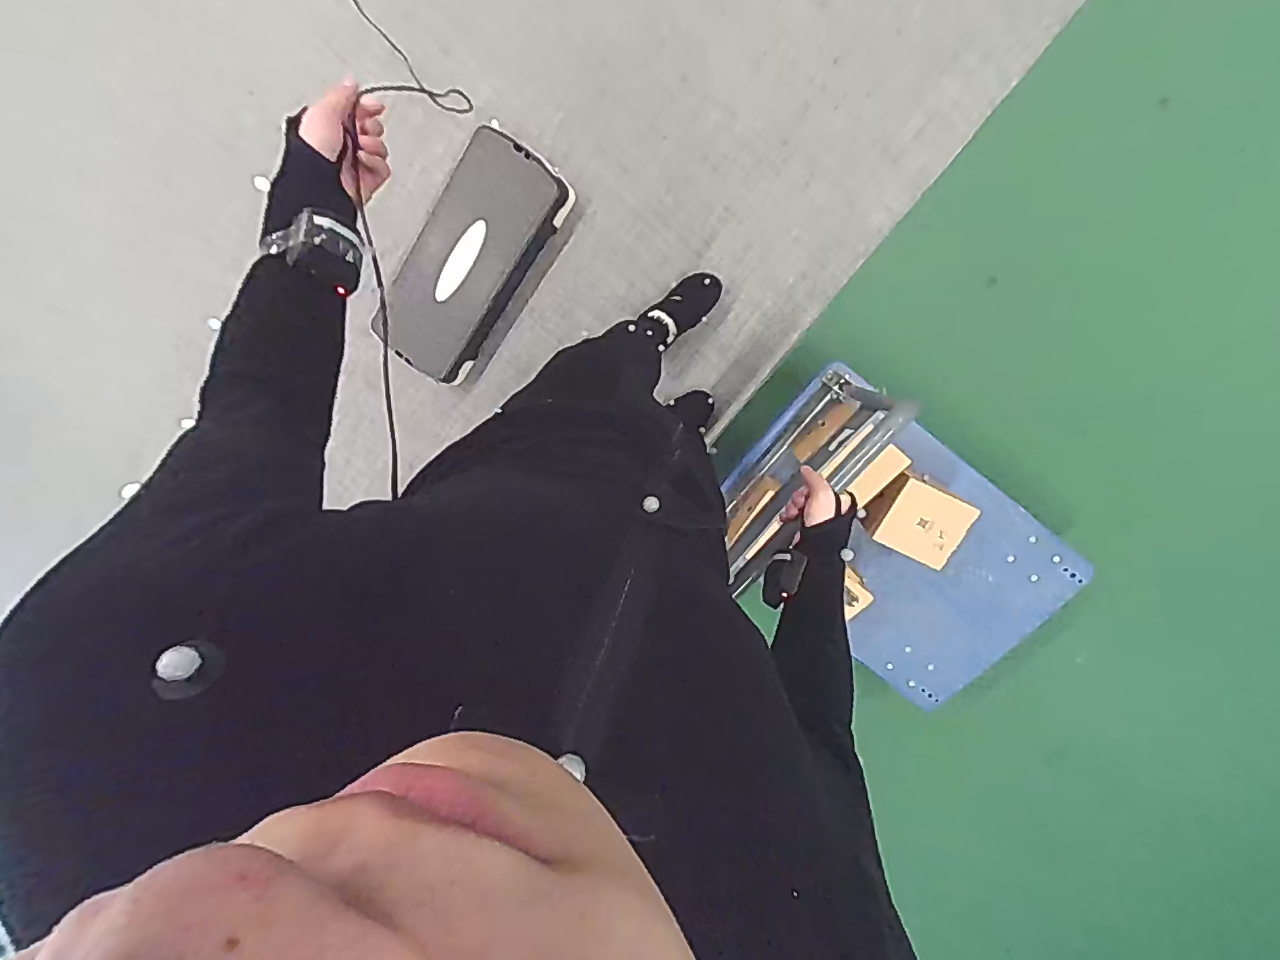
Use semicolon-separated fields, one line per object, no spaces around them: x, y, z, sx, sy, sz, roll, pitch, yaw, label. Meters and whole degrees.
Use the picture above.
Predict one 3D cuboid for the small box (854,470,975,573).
0.643;0.090;1.294;0.179;0.176;0.168;26;107;0;small box
